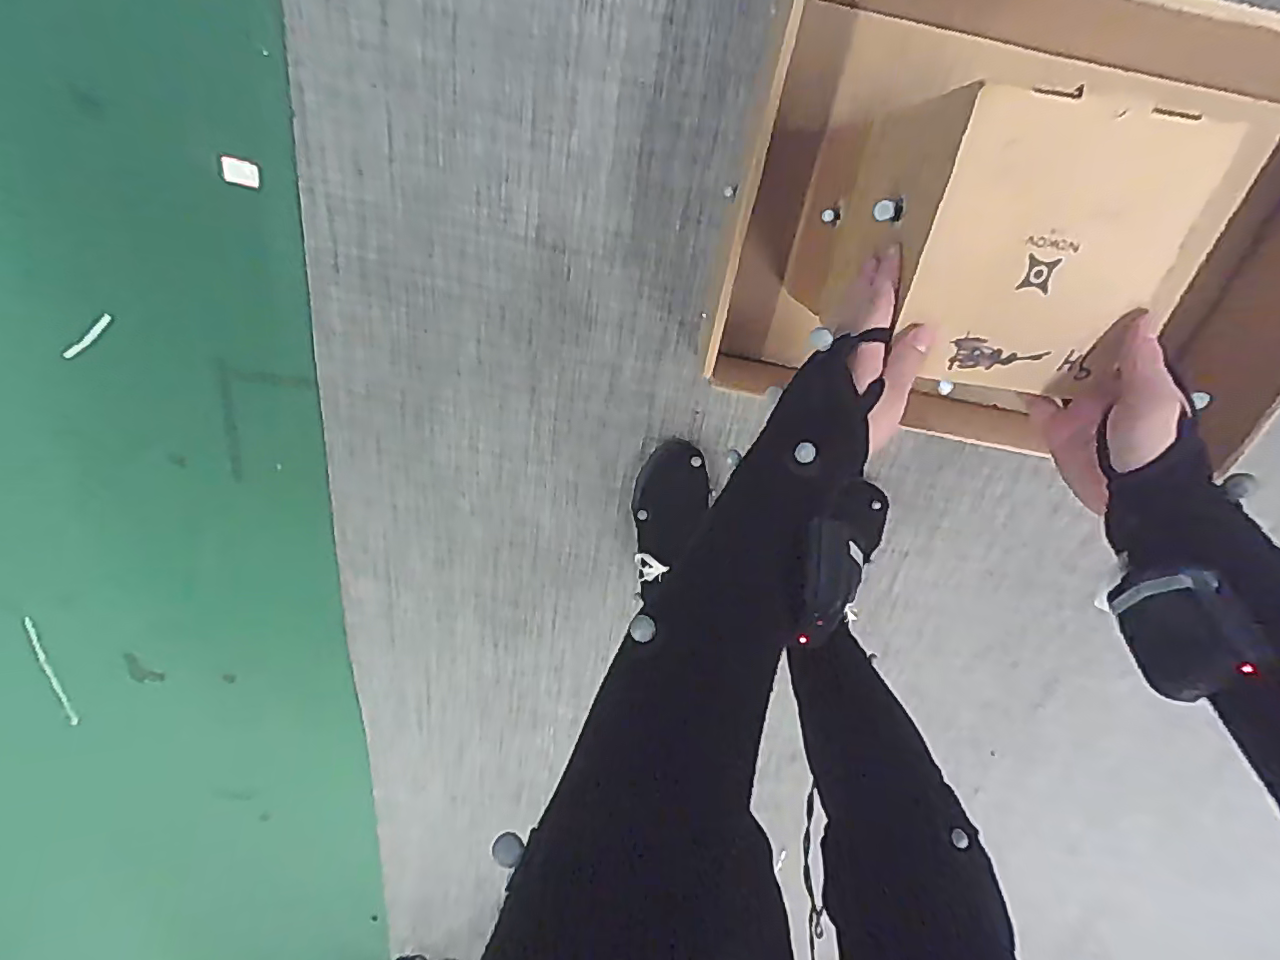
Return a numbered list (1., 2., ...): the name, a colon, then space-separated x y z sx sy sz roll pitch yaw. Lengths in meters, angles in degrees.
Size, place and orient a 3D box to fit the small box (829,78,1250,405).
1. small box: 0.268 -0.178 0.421 0.168 0.176 0.179 8 117 -3
